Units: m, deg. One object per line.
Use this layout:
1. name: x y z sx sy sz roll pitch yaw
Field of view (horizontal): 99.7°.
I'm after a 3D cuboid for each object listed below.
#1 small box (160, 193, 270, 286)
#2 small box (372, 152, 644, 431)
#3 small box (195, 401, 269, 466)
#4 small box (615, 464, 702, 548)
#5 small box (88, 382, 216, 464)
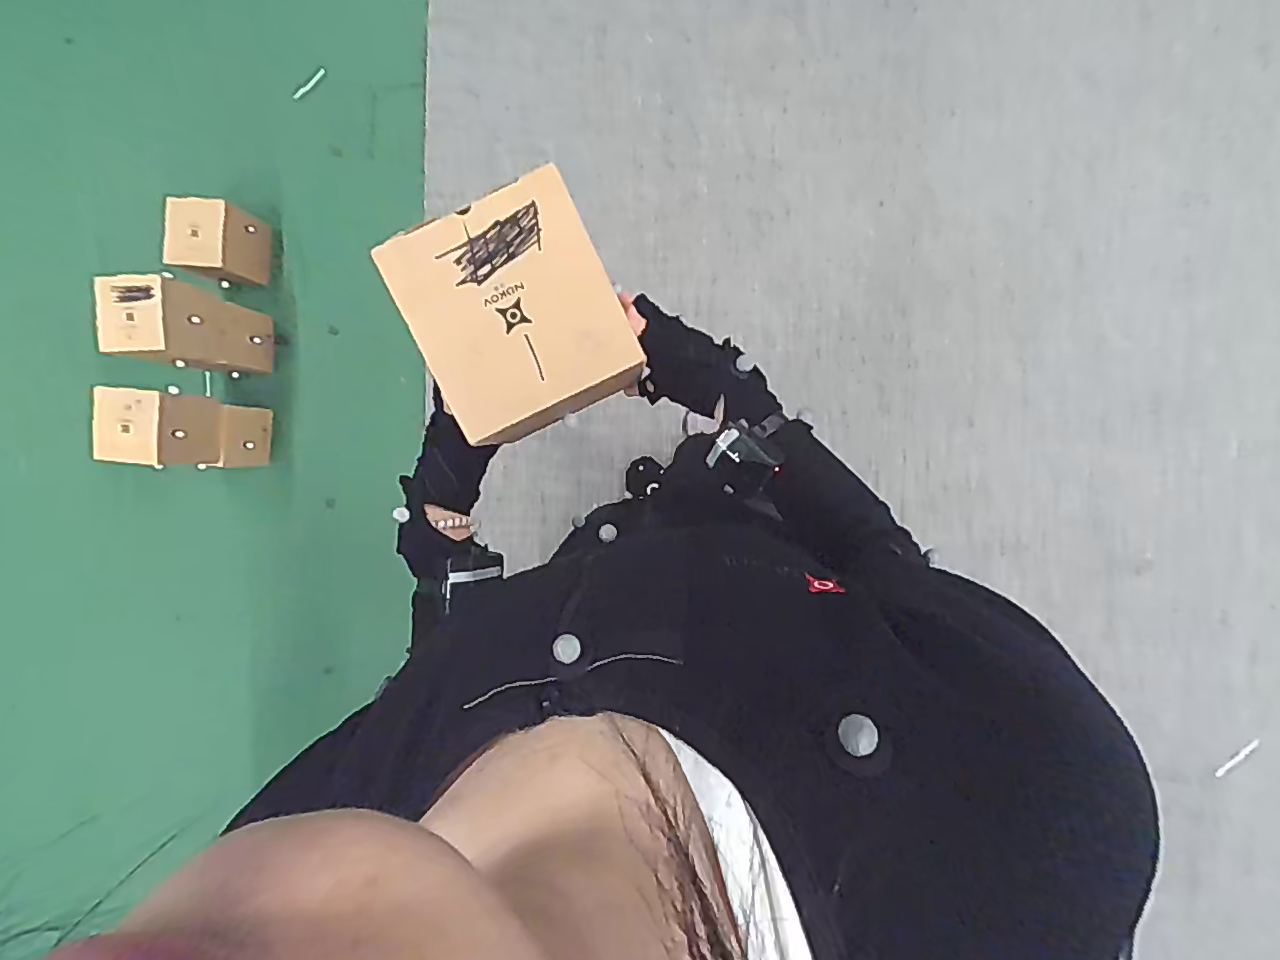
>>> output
1. small box: -1.146 -0.648 1.469 0.168 0.176 0.179 6 93 4
2. small box: -0.108 -0.156 0.513 0.168 0.176 0.179 -25 95 0
3. small box: -1.164 -0.132 1.489 0.179 0.176 0.168 7 93 4
4. small box: 0.047 0.063 1.434 0.179 0.176 0.168 17 105 18
5. small box: -1.185 -0.135 1.324 0.168 0.176 0.179 6 93 4
